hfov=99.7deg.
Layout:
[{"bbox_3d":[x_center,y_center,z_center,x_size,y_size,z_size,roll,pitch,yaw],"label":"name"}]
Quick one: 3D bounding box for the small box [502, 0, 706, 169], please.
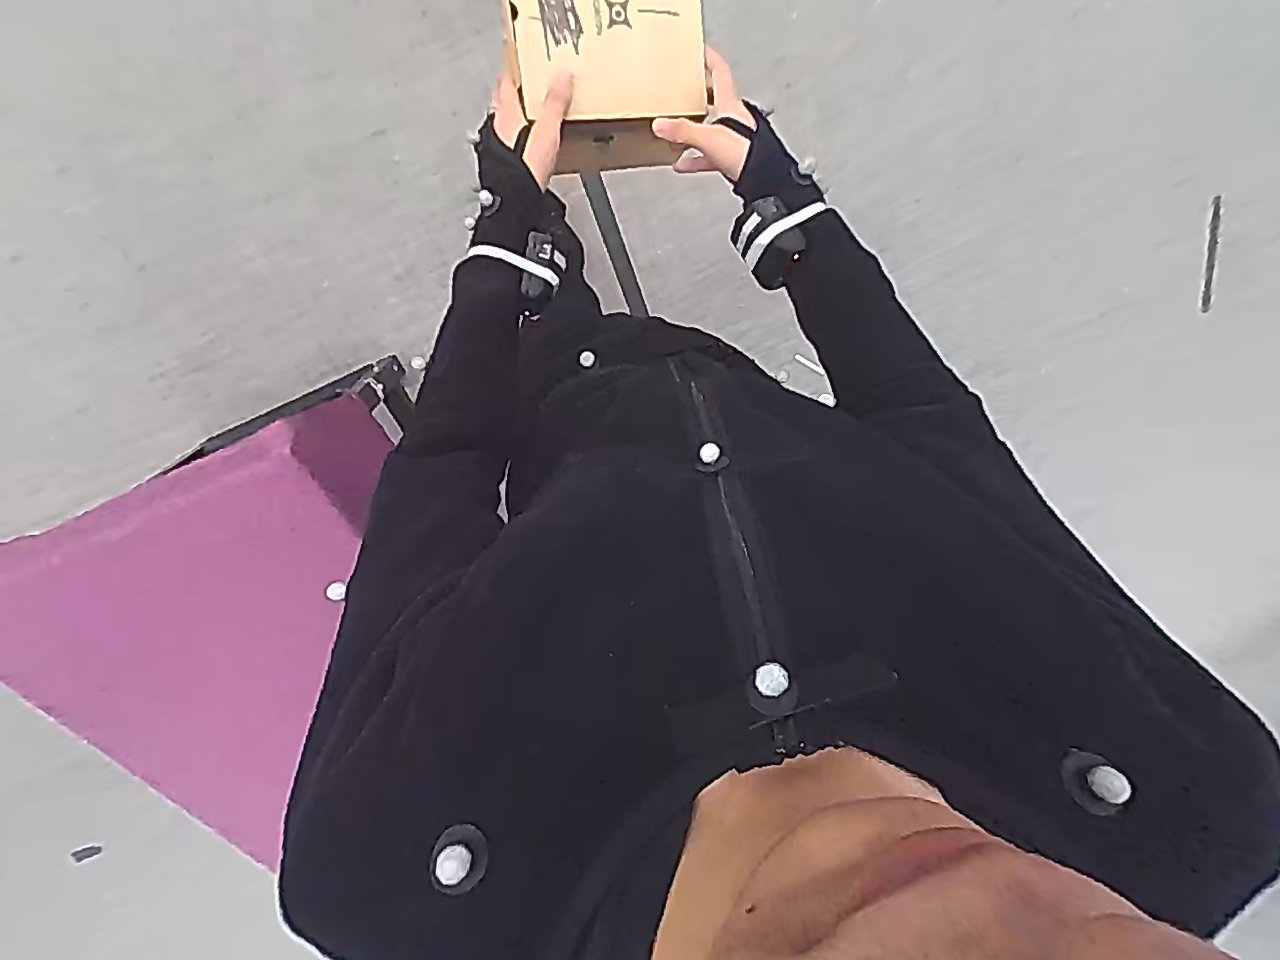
[{"bbox_3d":[-0.041,-0.434,0.551,0.179,0.176,0.168,-8,107,-6],"label":"small box"}]
